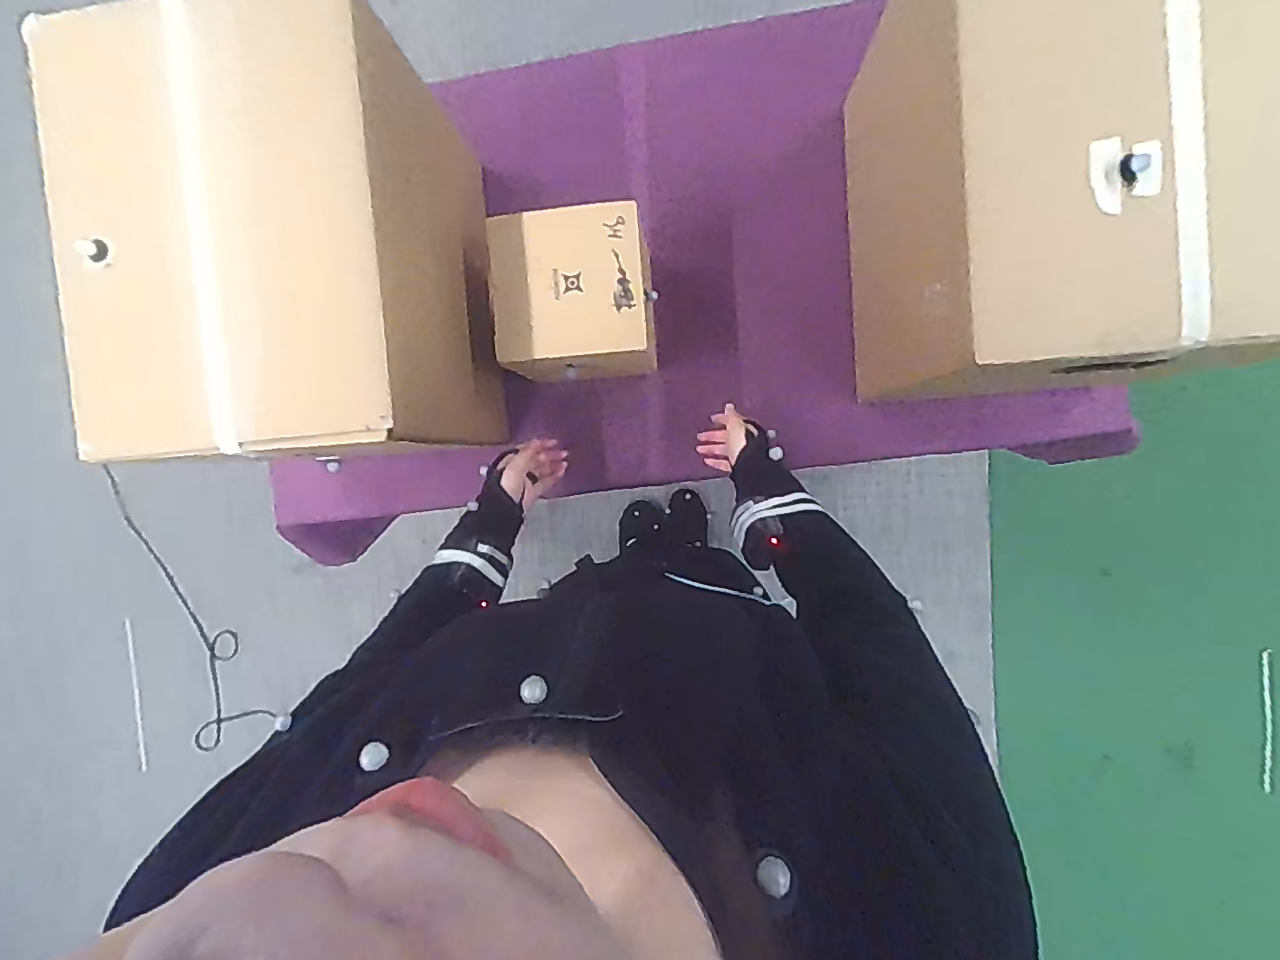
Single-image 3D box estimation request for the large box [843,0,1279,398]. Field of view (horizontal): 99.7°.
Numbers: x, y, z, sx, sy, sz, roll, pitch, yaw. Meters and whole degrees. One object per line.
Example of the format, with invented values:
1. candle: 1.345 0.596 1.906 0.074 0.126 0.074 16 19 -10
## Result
1. large box: 0.426 -0.311 0.577 0.320 0.320 0.408 -3 93 5
